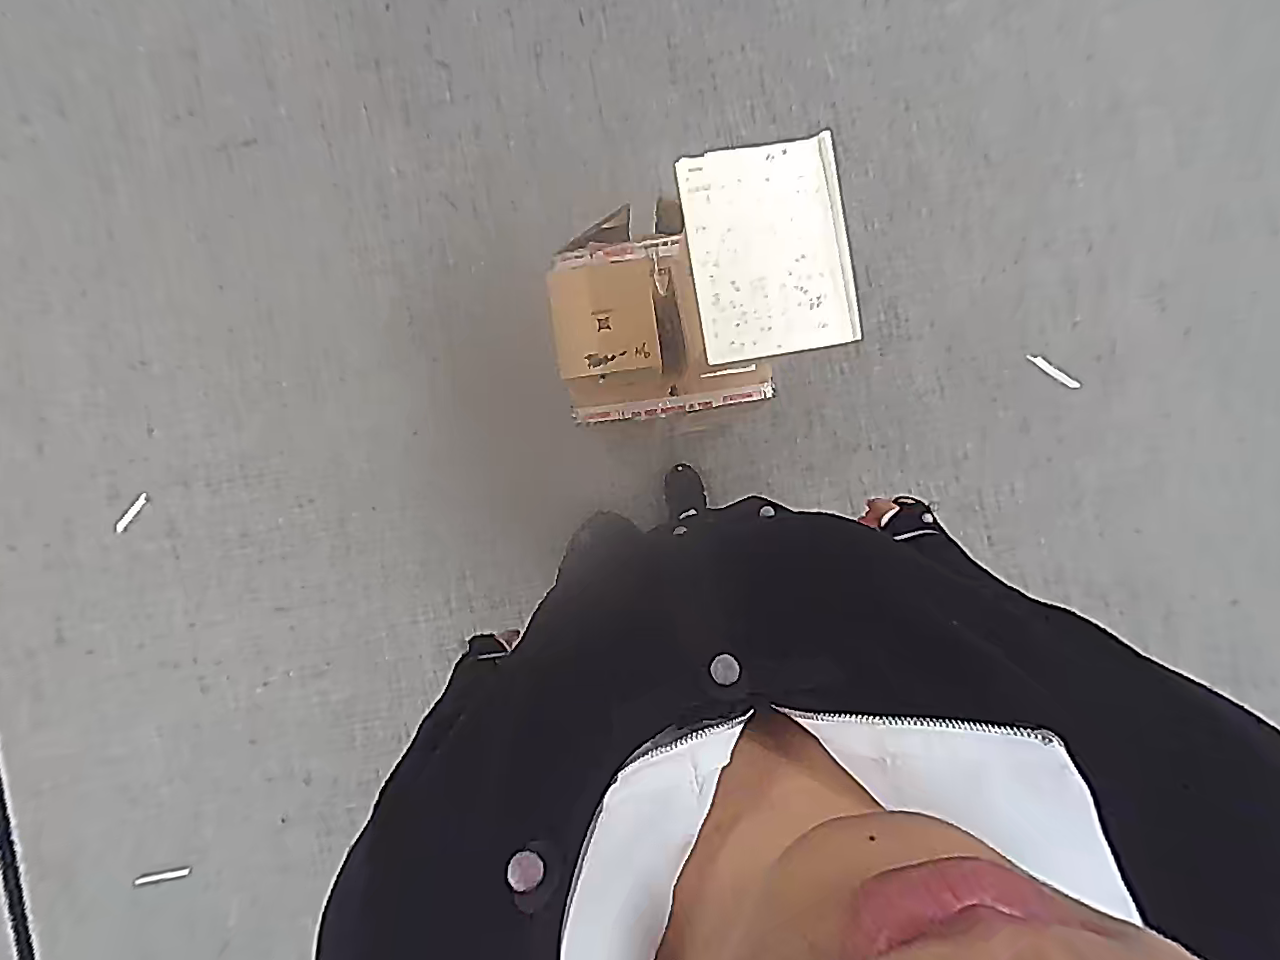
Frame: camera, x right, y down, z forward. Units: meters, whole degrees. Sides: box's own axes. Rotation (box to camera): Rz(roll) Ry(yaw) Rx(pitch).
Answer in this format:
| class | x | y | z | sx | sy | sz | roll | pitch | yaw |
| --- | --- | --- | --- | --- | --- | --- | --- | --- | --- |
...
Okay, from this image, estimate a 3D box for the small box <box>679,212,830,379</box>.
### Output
| class | x | y | z | sx | sy | sz | roll | pitch | yaw |
| --- | --- | --- | --- | --- | --- | --- | --- | --- | --- |
| small box | 0.155 | -0.257 | 0.789 | 0.168 | 0.176 | 0.179 | -9 | 91 | -1 |
